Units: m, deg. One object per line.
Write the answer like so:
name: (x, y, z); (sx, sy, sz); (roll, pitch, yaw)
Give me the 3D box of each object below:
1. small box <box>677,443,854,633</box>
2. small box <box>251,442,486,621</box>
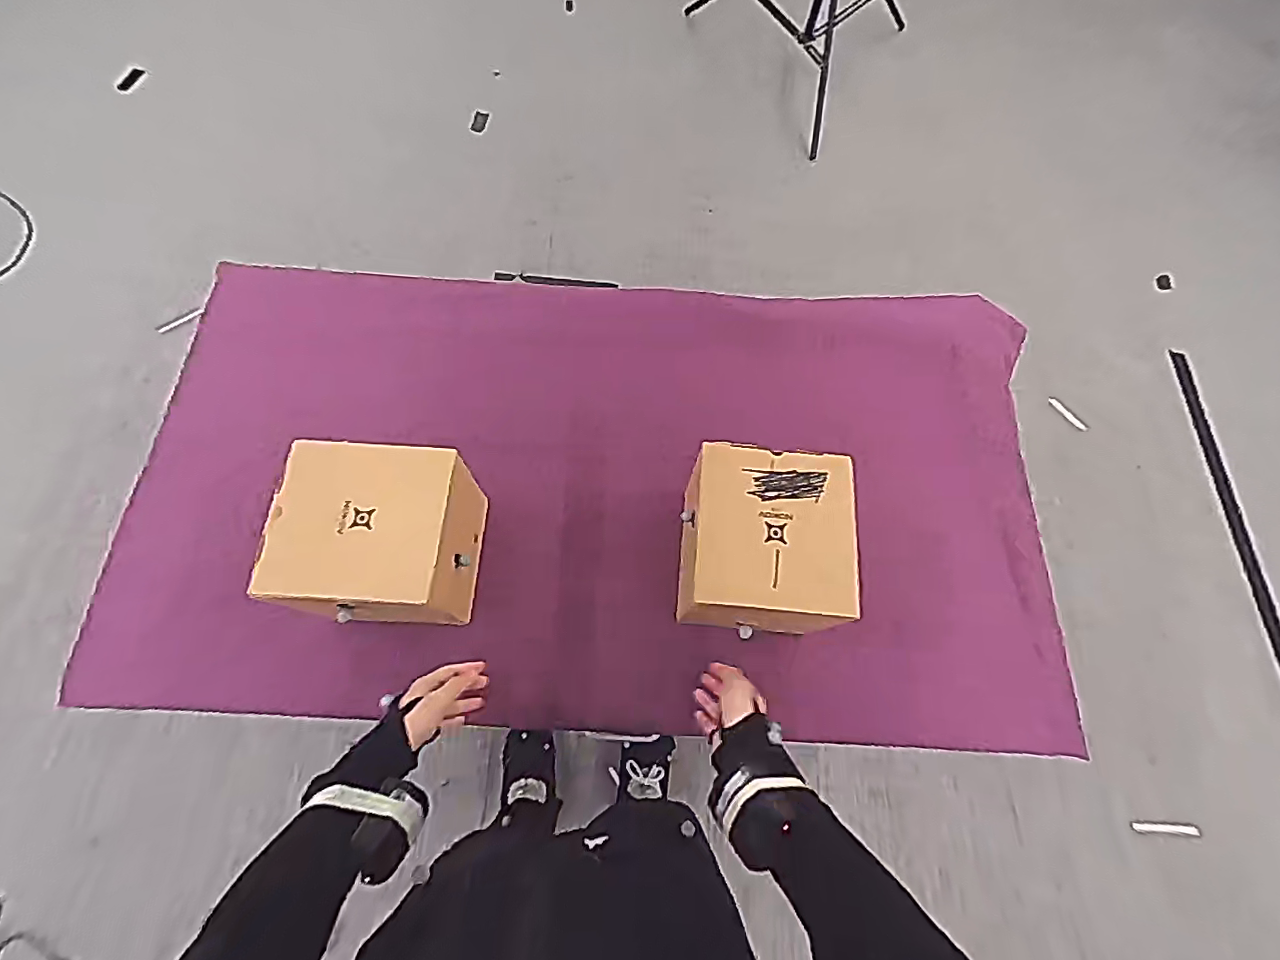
small box: (0.136, 0.076, 0.637); (0.168, 0.176, 0.179); (6, 69, 0)
small box: (-0.288, 0.069, 0.624); (0.179, 0.176, 0.168); (3, 69, -1)
